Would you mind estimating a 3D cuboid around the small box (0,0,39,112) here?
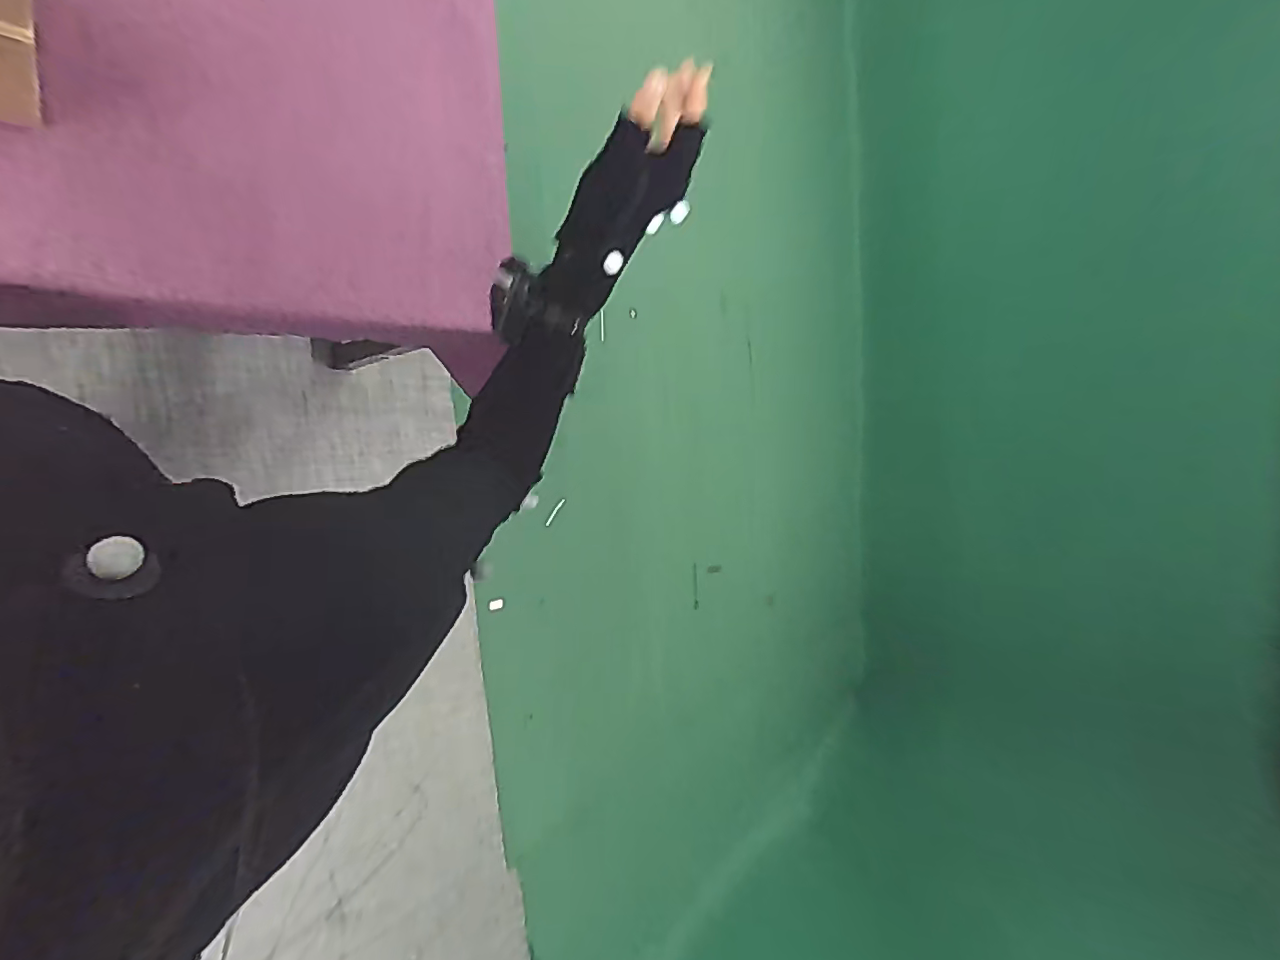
[{"bbox_3d":[-0.583,-0.422,0.404,0.168,0.176,0.179,-8,97,-47],"label":"small box"}]
